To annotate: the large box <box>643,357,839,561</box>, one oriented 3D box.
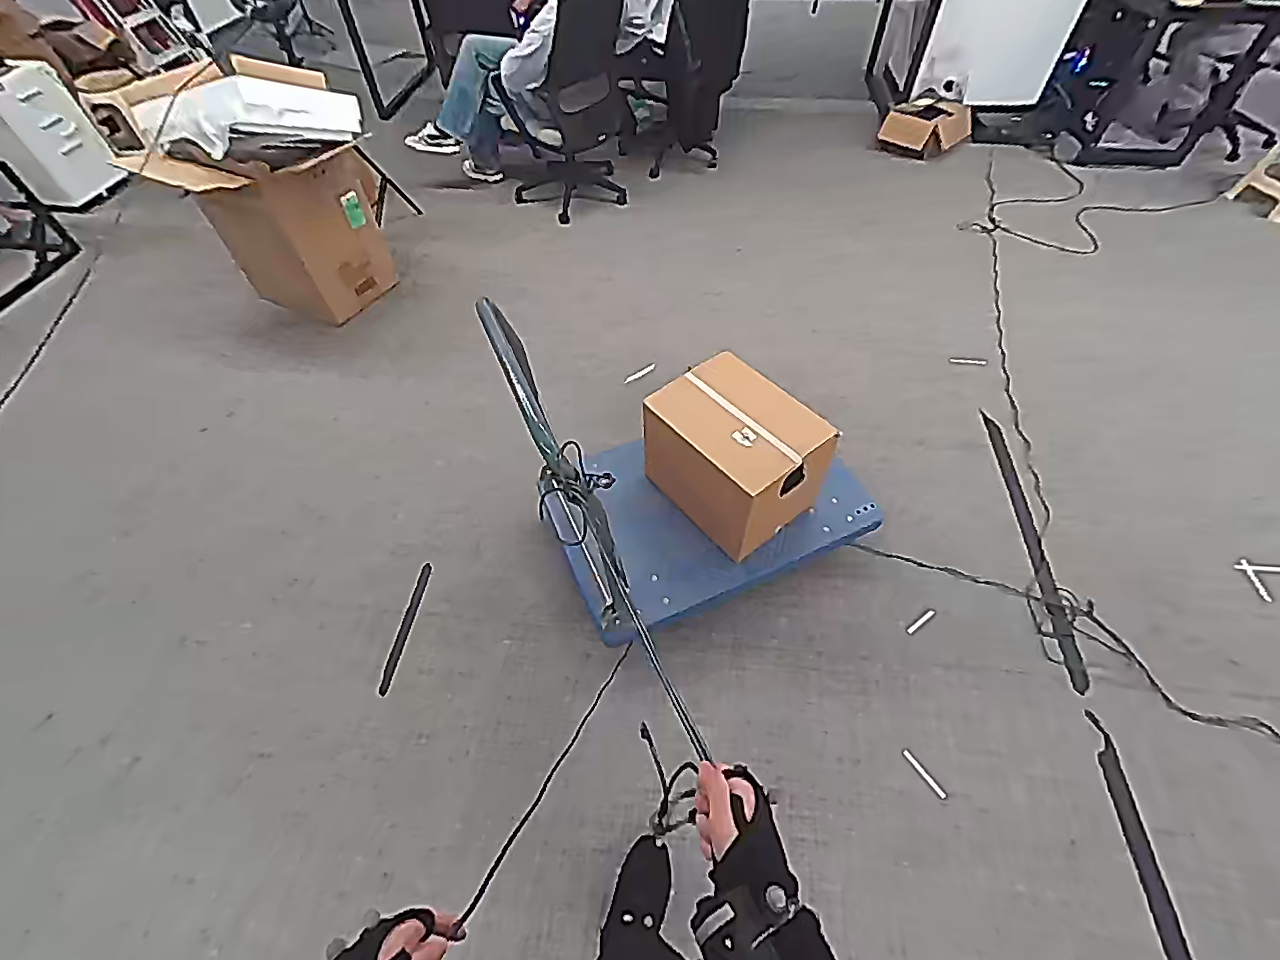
[{"bbox_3d":[0.249,-0.061,1.483,0.320,0.320,0.408,-34,60,-21],"label":"large box"}]
